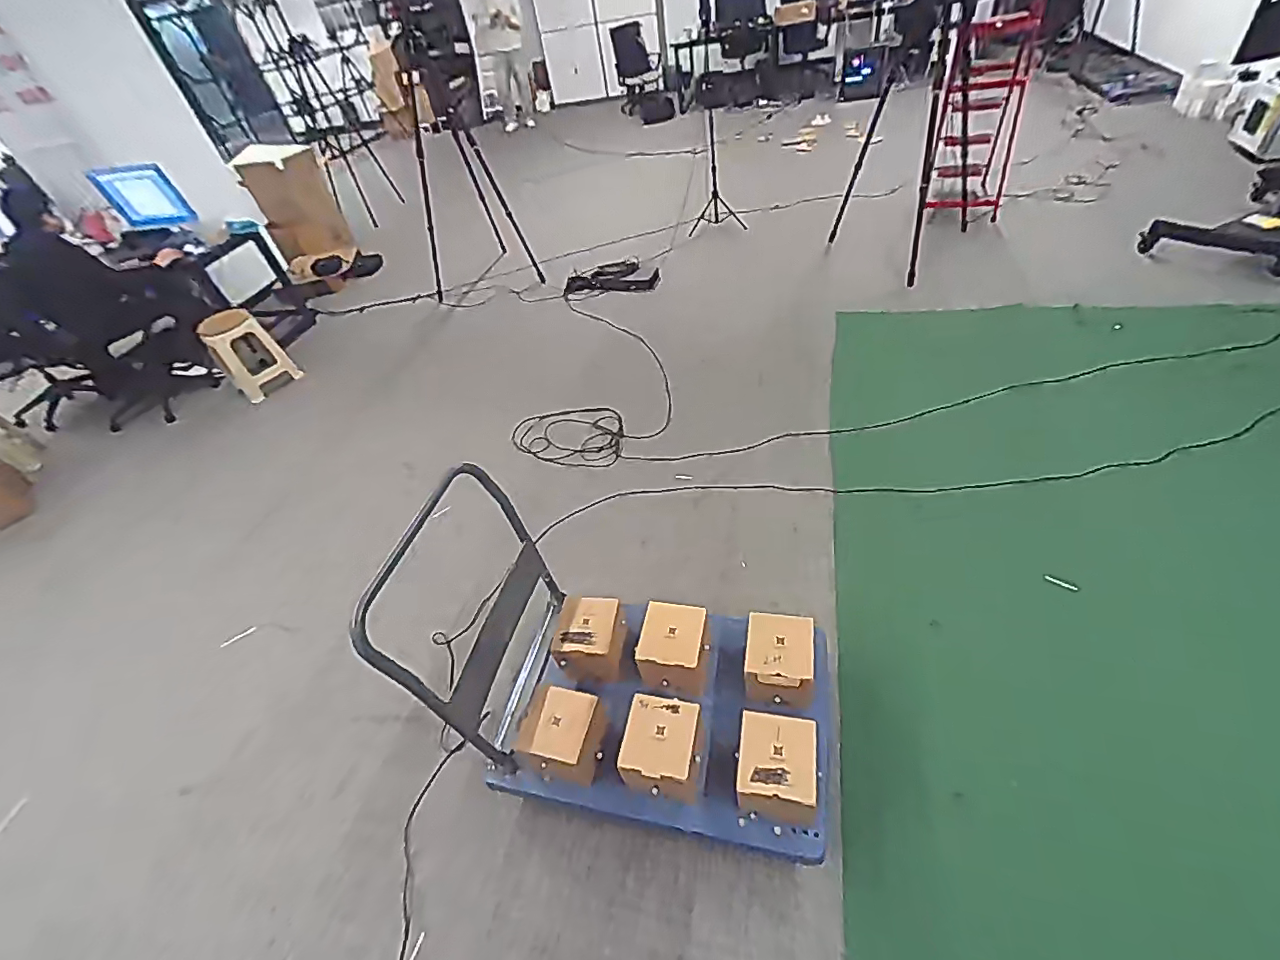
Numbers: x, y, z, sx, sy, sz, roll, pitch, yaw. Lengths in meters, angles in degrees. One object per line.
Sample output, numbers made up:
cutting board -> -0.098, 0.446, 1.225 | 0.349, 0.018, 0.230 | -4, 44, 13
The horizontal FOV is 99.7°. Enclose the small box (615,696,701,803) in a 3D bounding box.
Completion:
small box -> 0.053, 0.658, 1.317 | 0.168, 0.176, 0.179 | 4, 46, 16

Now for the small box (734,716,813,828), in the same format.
small box -> 0.313, 0.681, 1.257 | 0.168, 0.176, 0.179 | 3, 45, 15

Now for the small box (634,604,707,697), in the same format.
small box -> 0.093, 0.473, 1.502 | 0.168, 0.176, 0.179 | 4, 48, 16

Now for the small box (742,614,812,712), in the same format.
small box -> 0.362, 0.481, 1.425 | 0.168, 0.176, 0.179 | 2, 46, 16

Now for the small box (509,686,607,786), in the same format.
small box -> -0.200, 0.655, 1.379 | 0.179, 0.176, 0.168 | 6, 47, 17
